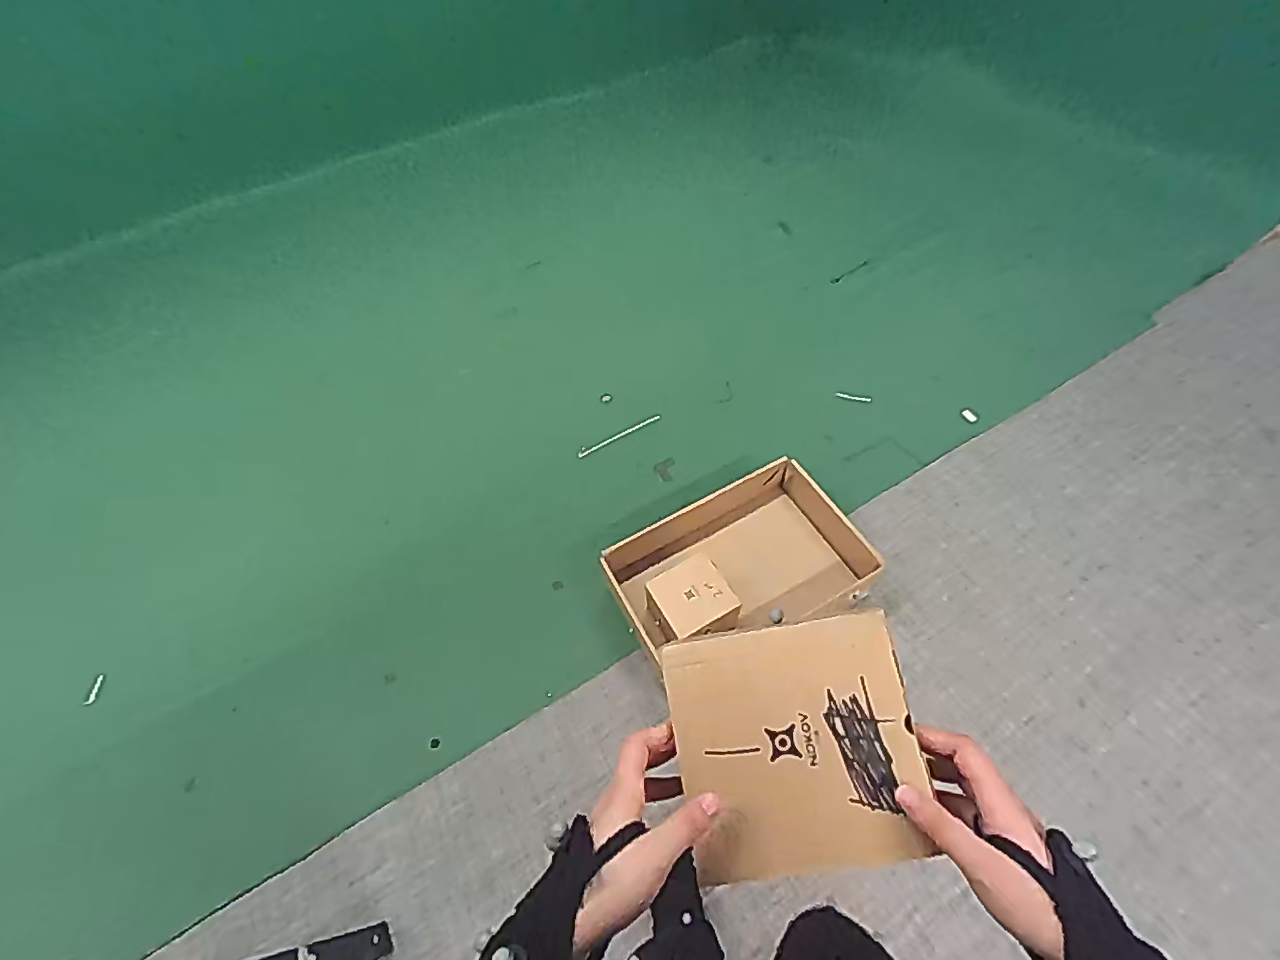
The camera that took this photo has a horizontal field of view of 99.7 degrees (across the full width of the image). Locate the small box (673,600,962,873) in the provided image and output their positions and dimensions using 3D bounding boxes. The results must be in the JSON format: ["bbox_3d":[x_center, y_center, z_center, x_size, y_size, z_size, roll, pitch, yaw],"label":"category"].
[{"bbox_3d":[0.130,0.200,0.465,0.179,0.176,0.168,-11,74,5],"label":"small box"}]

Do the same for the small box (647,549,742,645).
[{"bbox_3d":[0.132,0.309,1.349,0.179,0.176,0.168,-26,60,-14],"label":"small box"}]
